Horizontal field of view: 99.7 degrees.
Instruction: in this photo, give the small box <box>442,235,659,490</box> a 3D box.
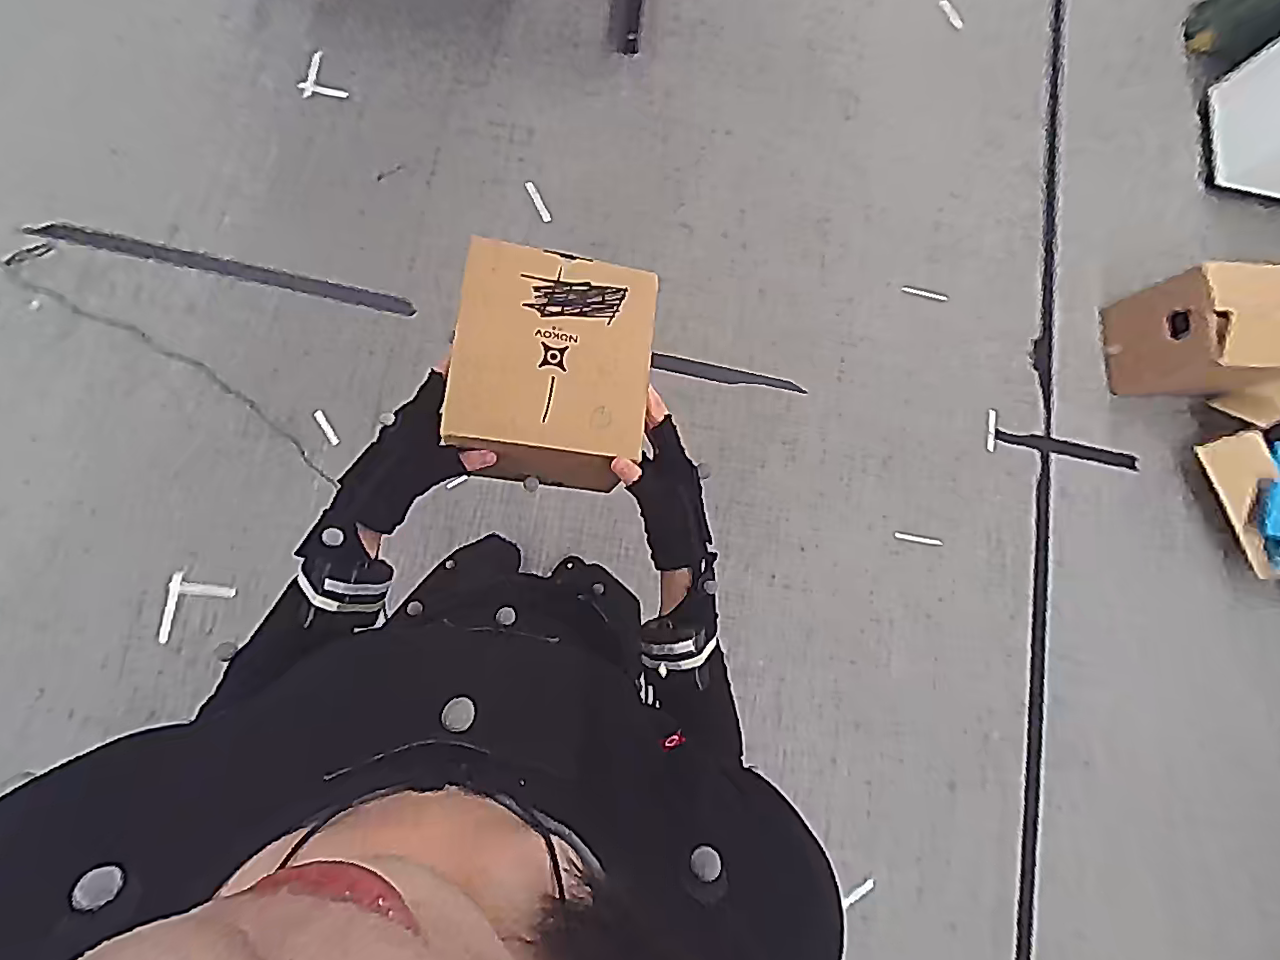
[{"bbox_3d":[-0.086,-0.097,0.526,0.168,0.176,0.179,7,78,-11],"label":"small box"}]
